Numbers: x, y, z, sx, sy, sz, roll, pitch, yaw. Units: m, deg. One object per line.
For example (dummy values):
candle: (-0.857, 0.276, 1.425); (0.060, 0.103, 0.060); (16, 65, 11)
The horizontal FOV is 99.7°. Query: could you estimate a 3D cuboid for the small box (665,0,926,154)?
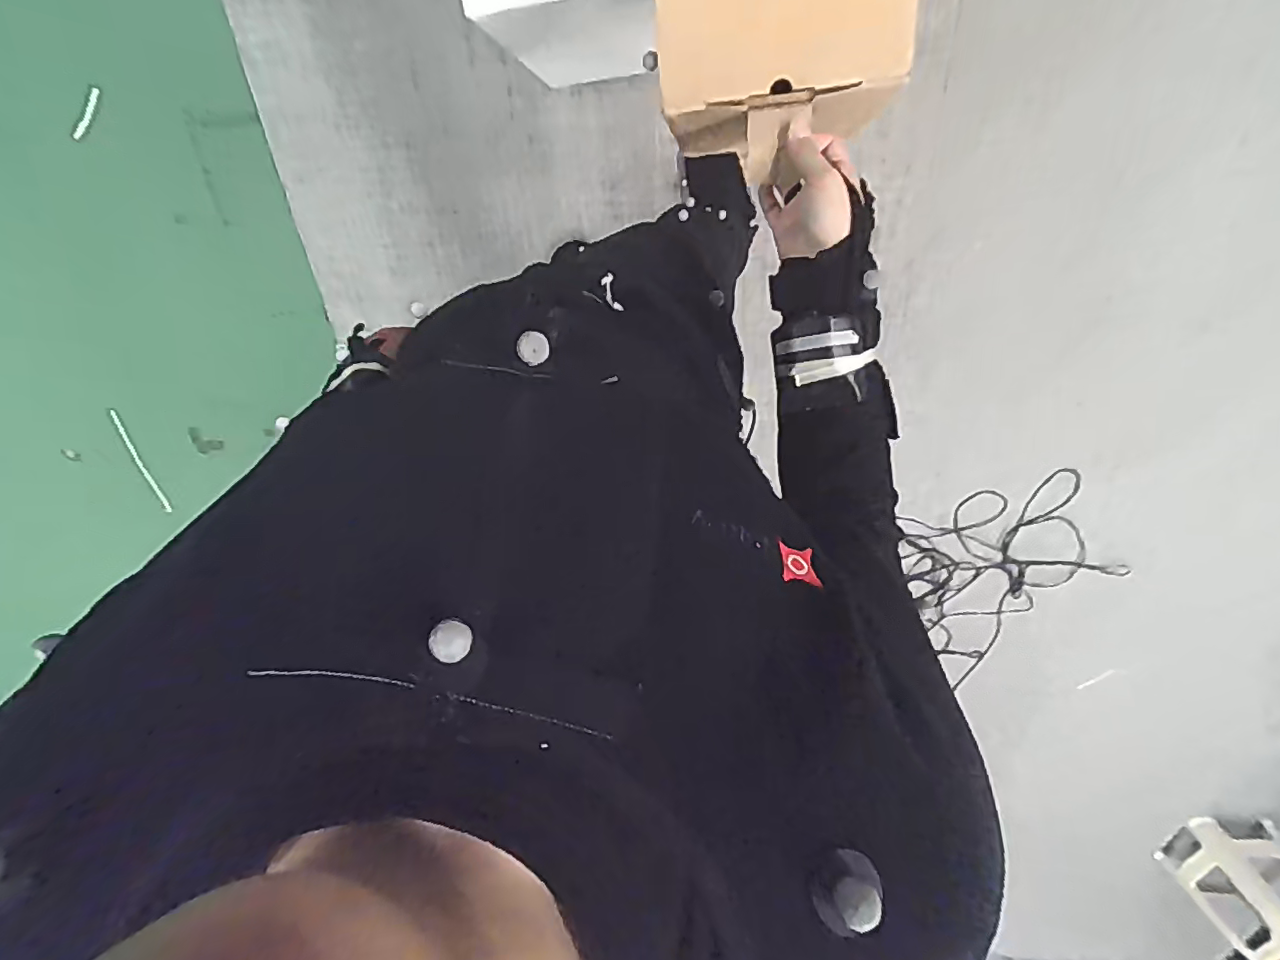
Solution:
small box: (0.107, -0.368, 0.408); (0.168, 0.176, 0.179); (-1, 112, 11)
